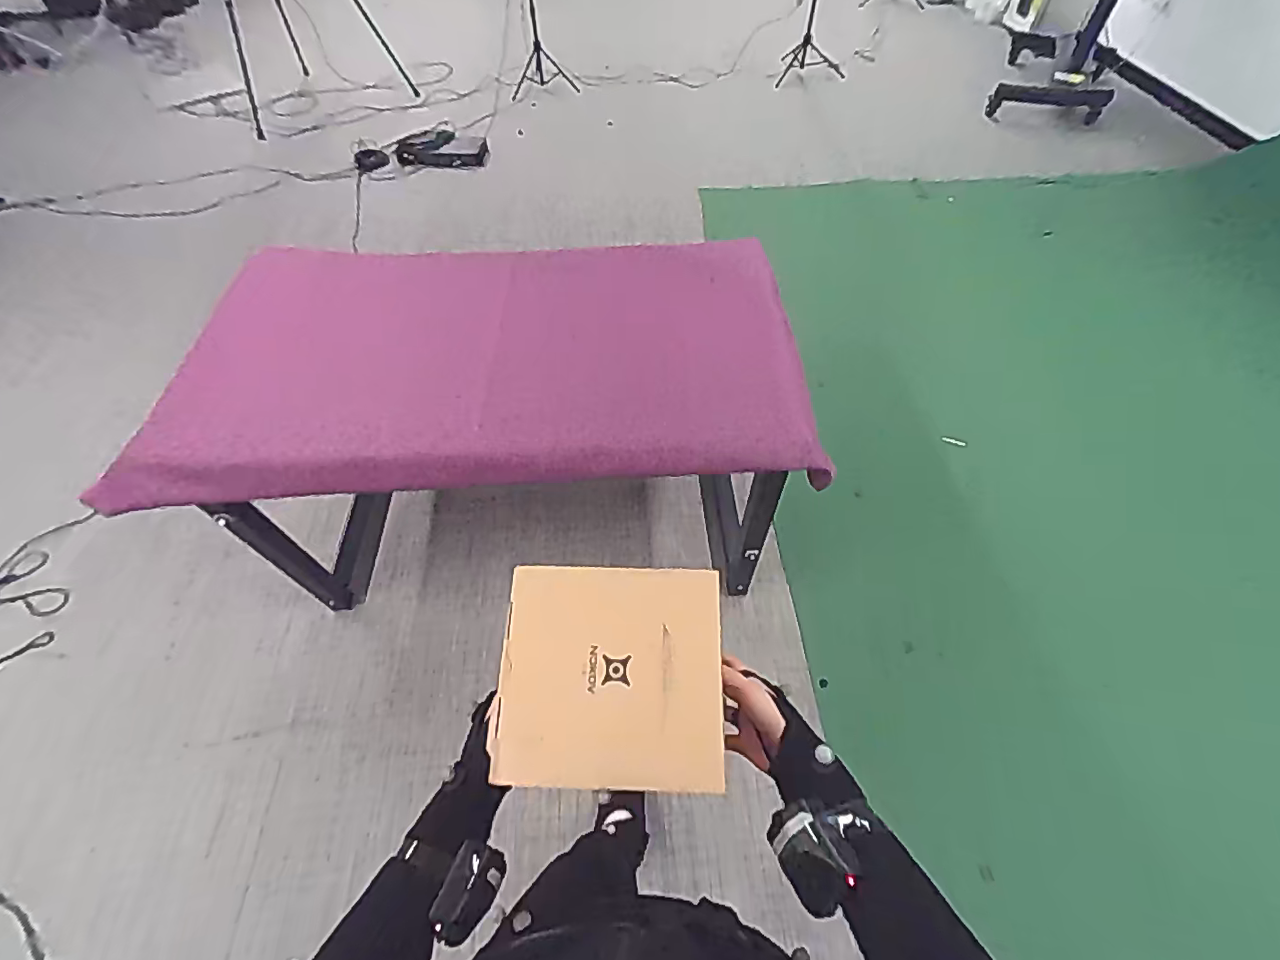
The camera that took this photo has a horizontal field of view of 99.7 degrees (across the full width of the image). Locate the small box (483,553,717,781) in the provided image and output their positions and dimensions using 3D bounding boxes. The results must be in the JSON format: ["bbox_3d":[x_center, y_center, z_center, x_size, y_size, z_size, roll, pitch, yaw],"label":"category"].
[{"bbox_3d":[-0.024,0.171,0.497,0.179,0.176,0.168,2,67,2],"label":"small box"}]
